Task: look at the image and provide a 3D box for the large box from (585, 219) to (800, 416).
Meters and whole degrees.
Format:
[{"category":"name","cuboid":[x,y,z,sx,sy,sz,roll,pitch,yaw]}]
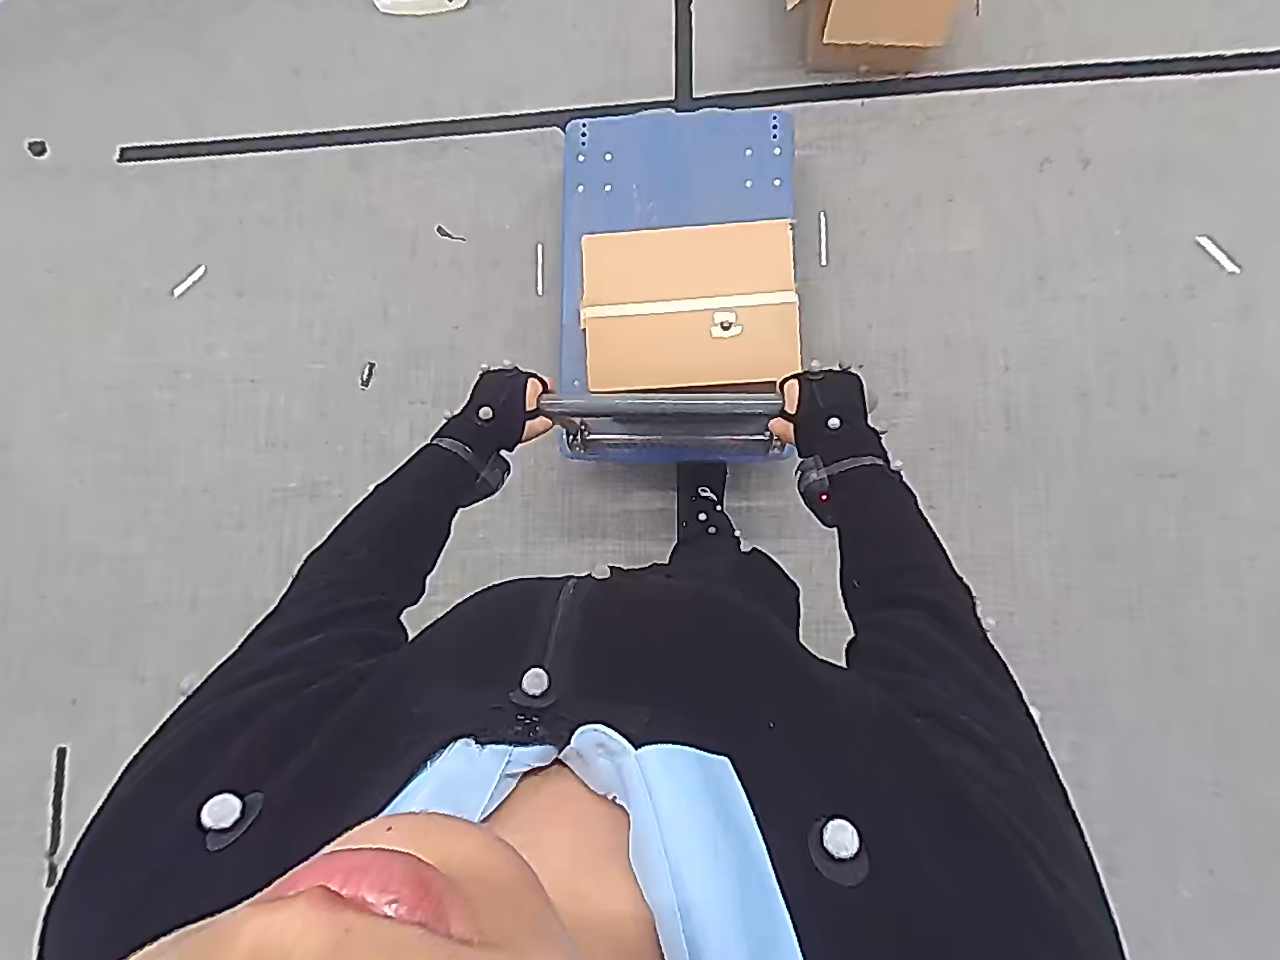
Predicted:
[{"category":"large box","cuboid":[0.104,-0.331,1.194,0.408,0.320,0.320,-3,87,3]}]
